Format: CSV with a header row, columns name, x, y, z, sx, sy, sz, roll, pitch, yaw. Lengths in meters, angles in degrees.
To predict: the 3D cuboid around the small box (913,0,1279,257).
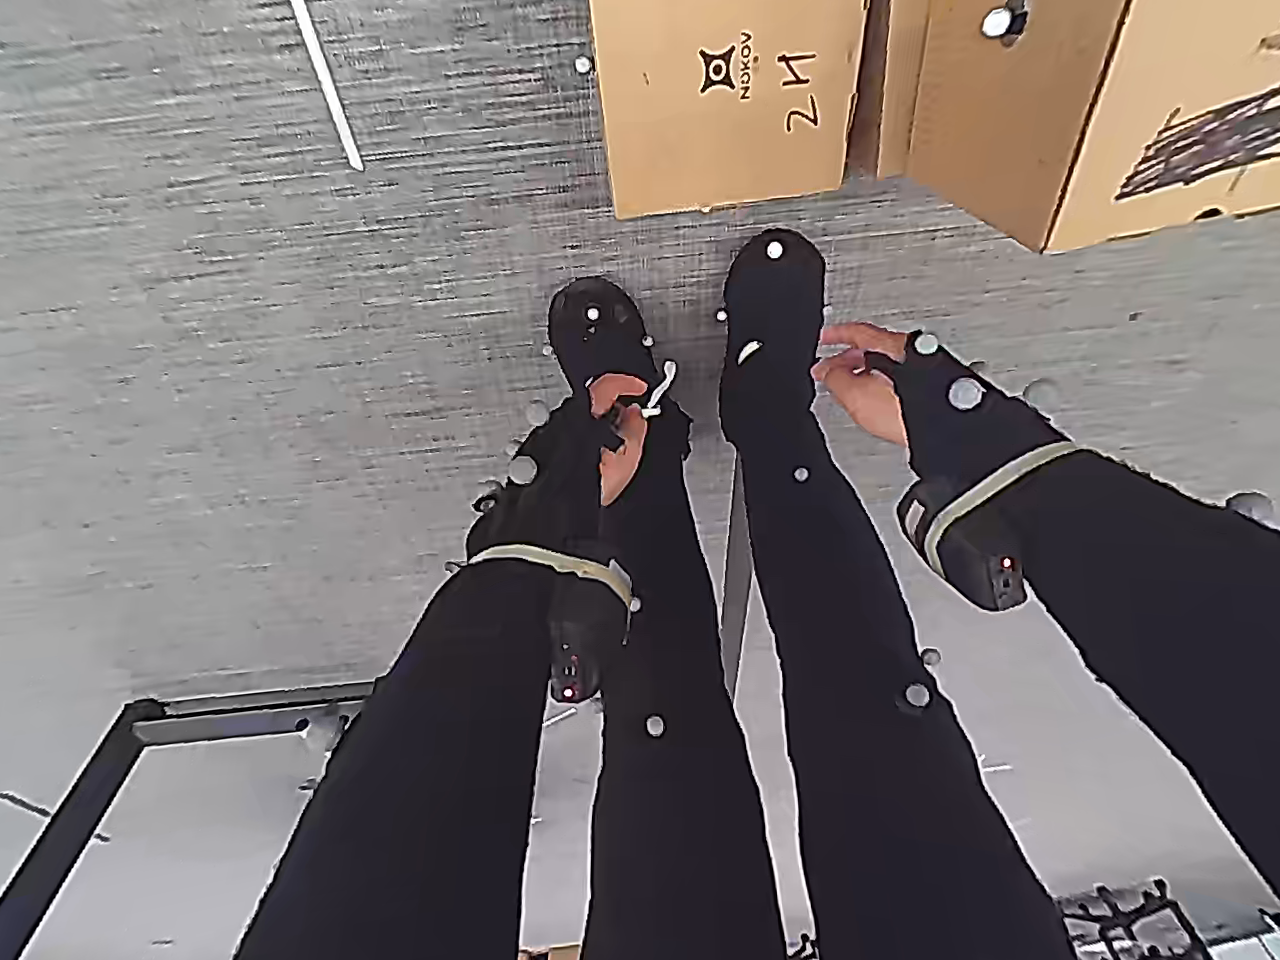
name,x,y,z,sx,sy,sz,roll,pitch,yaw
small box,0.269,-0.245,0.283,0.168,0.176,0.179,-10,132,3
